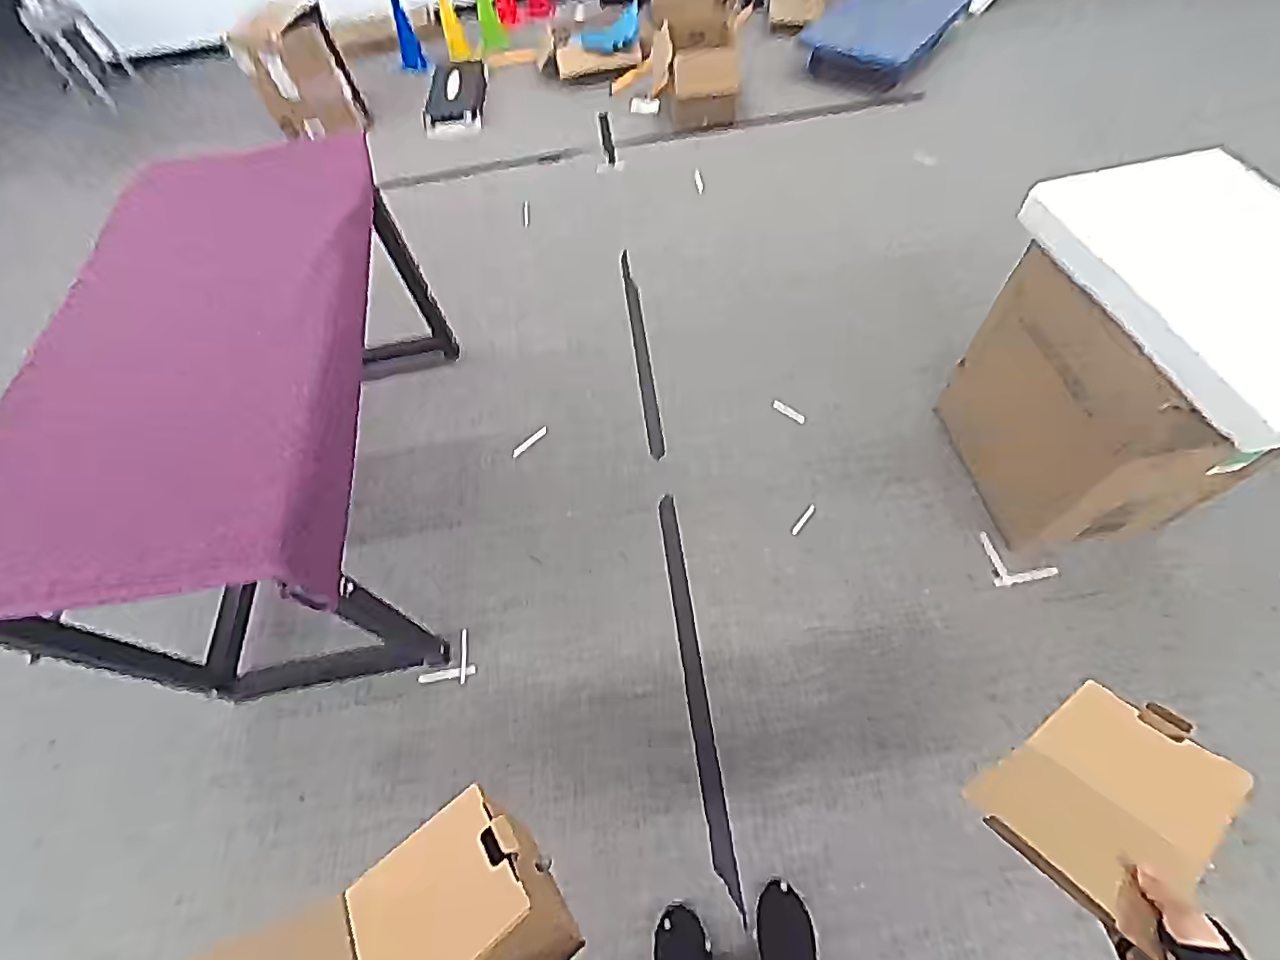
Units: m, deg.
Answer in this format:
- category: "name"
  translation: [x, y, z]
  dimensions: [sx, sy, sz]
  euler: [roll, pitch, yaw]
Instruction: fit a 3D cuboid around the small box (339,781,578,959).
- category: "small box"
  translation: [-0.200, 0.499, 0.616]
  dimensions: [0.179, 0.176, 0.168]
  euler: [-36, 41, -18]
